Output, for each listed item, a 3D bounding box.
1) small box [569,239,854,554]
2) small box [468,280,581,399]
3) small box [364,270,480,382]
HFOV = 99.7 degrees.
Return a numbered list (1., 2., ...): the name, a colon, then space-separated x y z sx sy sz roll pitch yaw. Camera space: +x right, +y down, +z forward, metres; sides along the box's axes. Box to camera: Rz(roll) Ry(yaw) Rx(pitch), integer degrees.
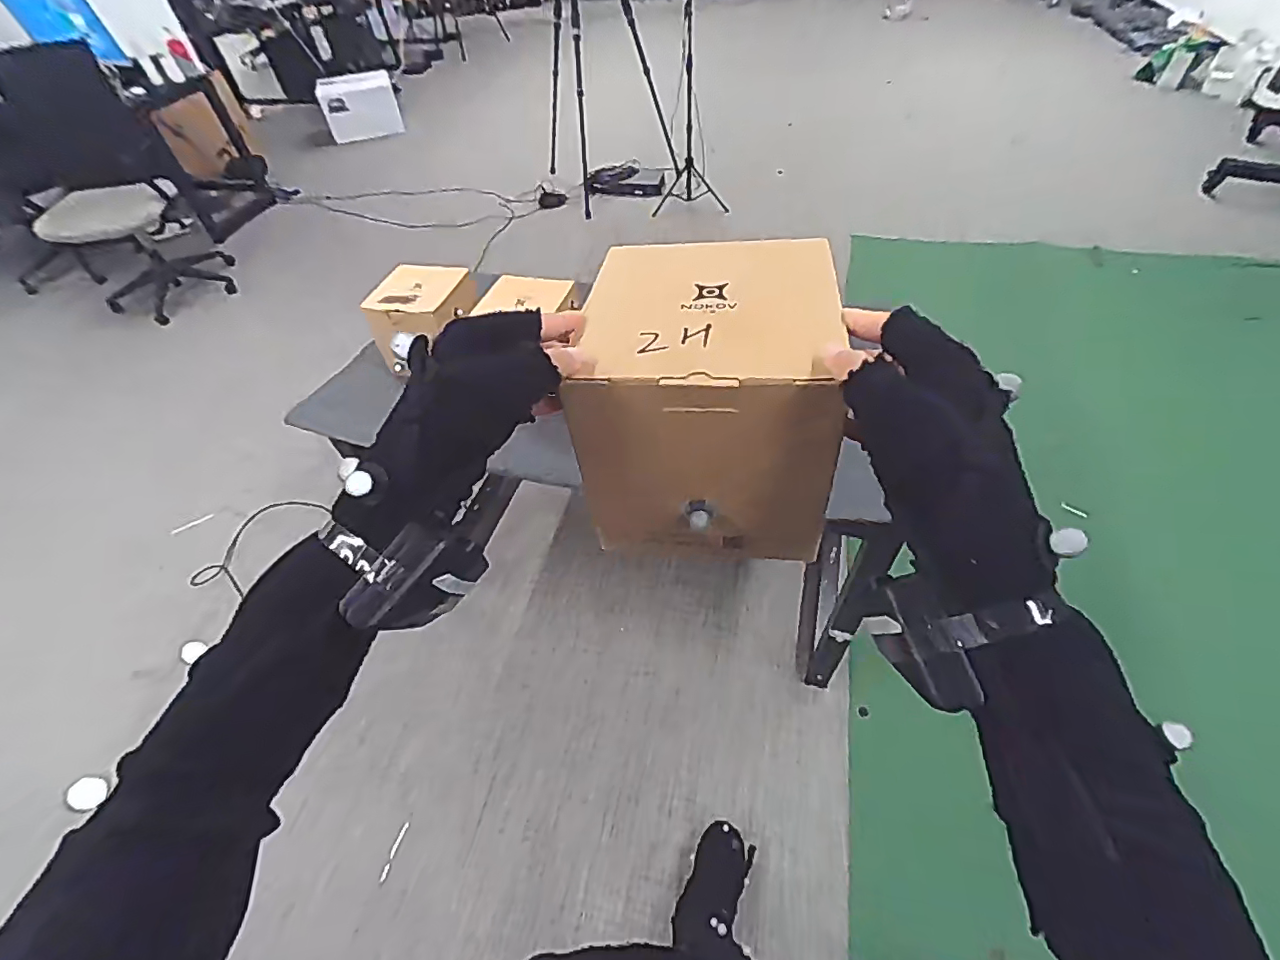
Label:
1. small box: 0.057 -0.066 0.419 0.168 0.176 0.179 2 47 11
2. small box: -0.223 -0.289 1.119 0.168 0.176 0.179 9 50 13
3. small box: -0.448 -0.332 1.173 0.168 0.176 0.179 7 49 10
